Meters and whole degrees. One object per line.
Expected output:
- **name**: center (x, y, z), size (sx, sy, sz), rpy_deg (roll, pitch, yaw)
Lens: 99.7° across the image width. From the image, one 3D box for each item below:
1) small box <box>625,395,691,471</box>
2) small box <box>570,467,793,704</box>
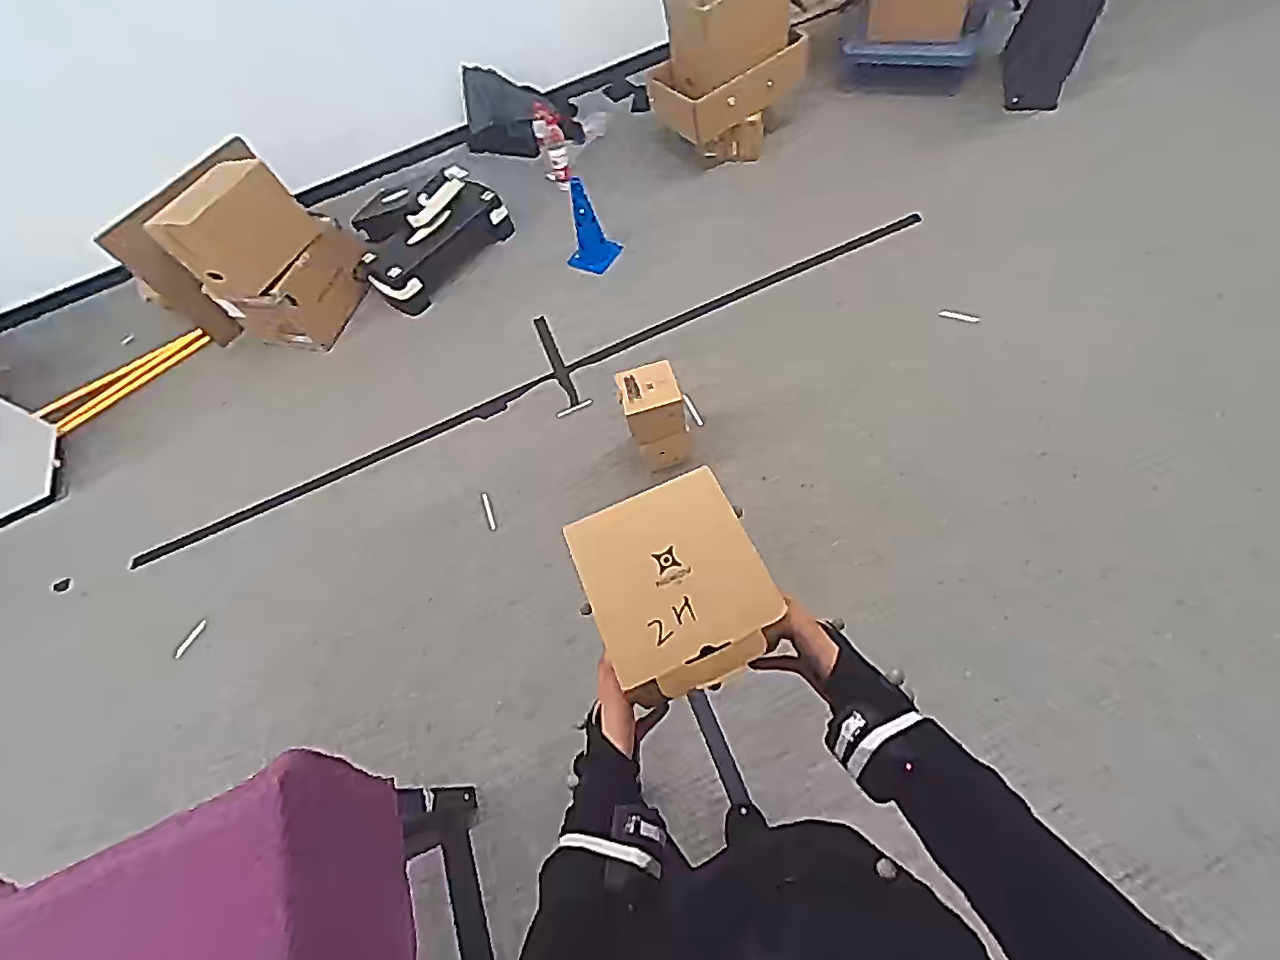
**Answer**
- **small box**: center (0.064, -0.149, 1.816), size (0.168, 0.176, 0.179), rpy_deg (-21, 59, -1)
- **small box**: center (0.041, 0.121, 0.585), size (0.168, 0.176, 0.179), rpy_deg (-23, 62, -3)
